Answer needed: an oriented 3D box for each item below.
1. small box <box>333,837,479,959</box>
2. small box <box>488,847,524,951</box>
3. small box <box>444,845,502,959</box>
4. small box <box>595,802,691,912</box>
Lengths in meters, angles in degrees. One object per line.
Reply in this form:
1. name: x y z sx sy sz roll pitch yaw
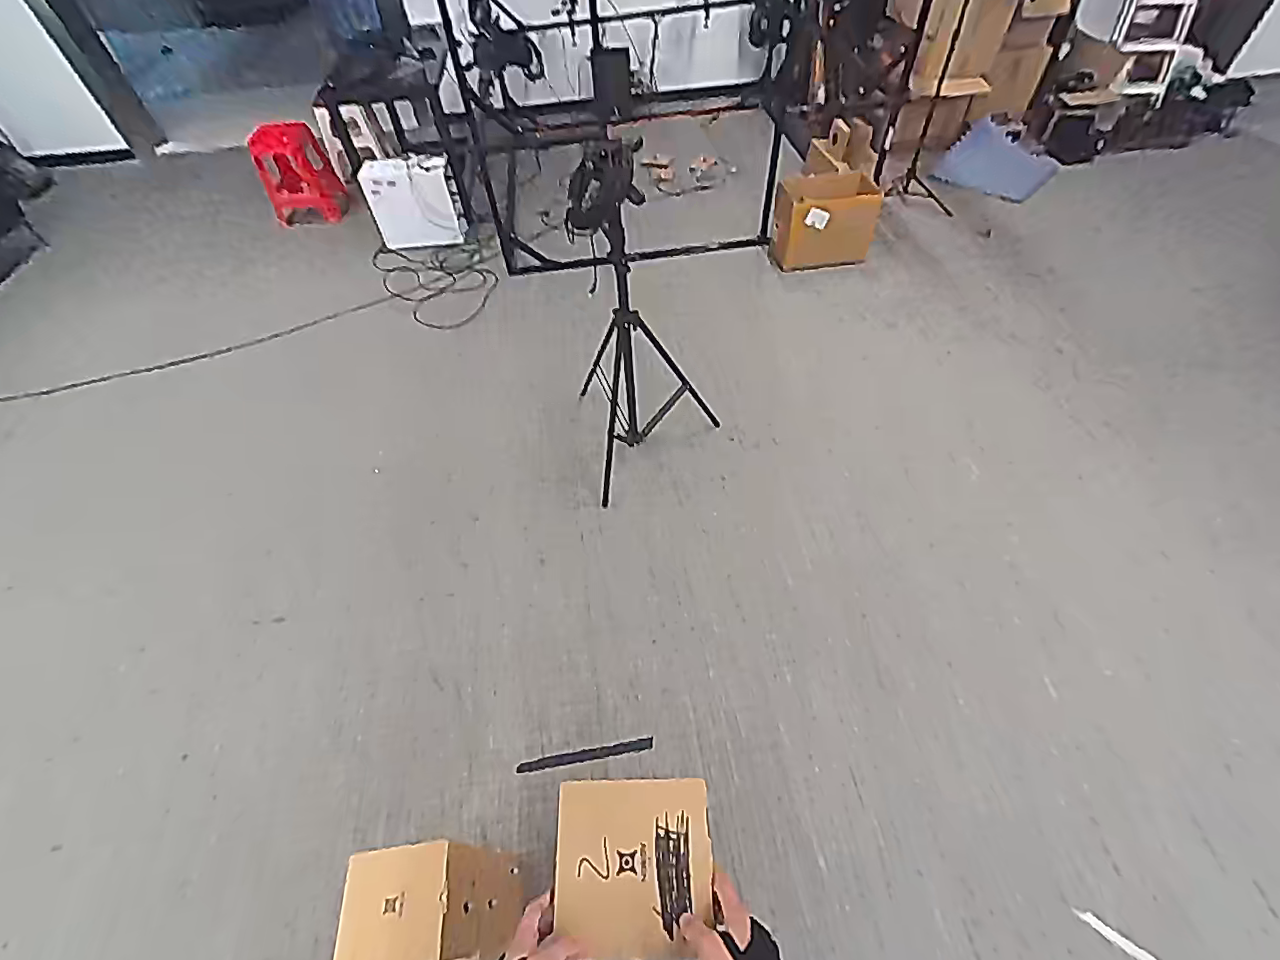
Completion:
1. small box: -0.400 0.747 0.954 0.179 0.176 0.168 -8 51 -2
2. small box: -0.363 0.951 1.207 0.168 0.176 0.179 -13 52 -6
3. small box: -0.378 0.854 1.076 0.168 0.176 0.179 -12 53 -5
4. small box: 0.002 0.776 1.113 0.179 0.176 0.168 -6 51 -2
